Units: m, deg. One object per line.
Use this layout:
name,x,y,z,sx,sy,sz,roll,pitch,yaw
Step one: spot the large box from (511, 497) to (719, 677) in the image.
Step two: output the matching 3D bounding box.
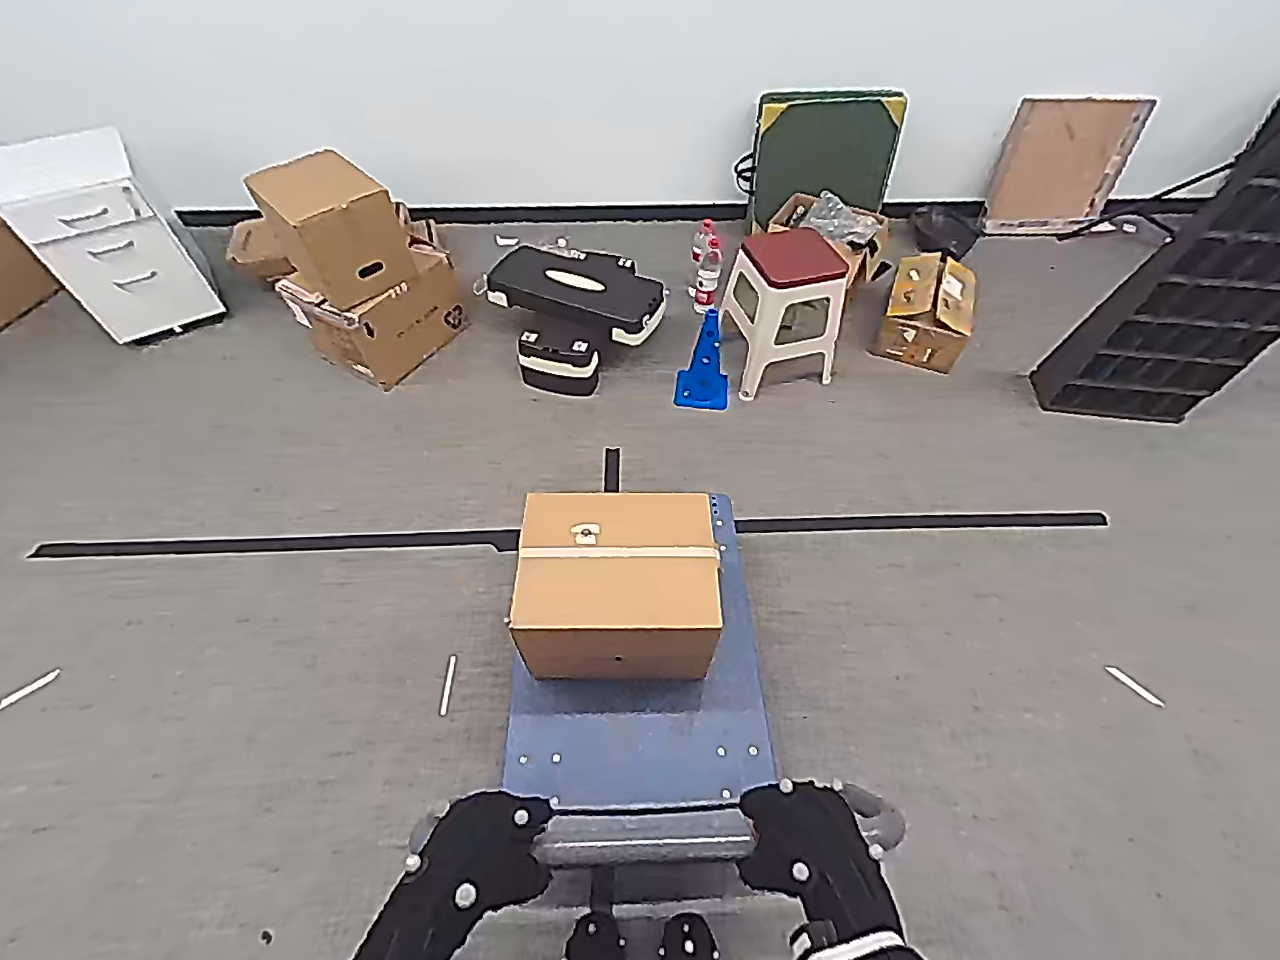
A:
large box,-0.049,0.251,1.231,0.408,0.320,0.320,0,53,0
